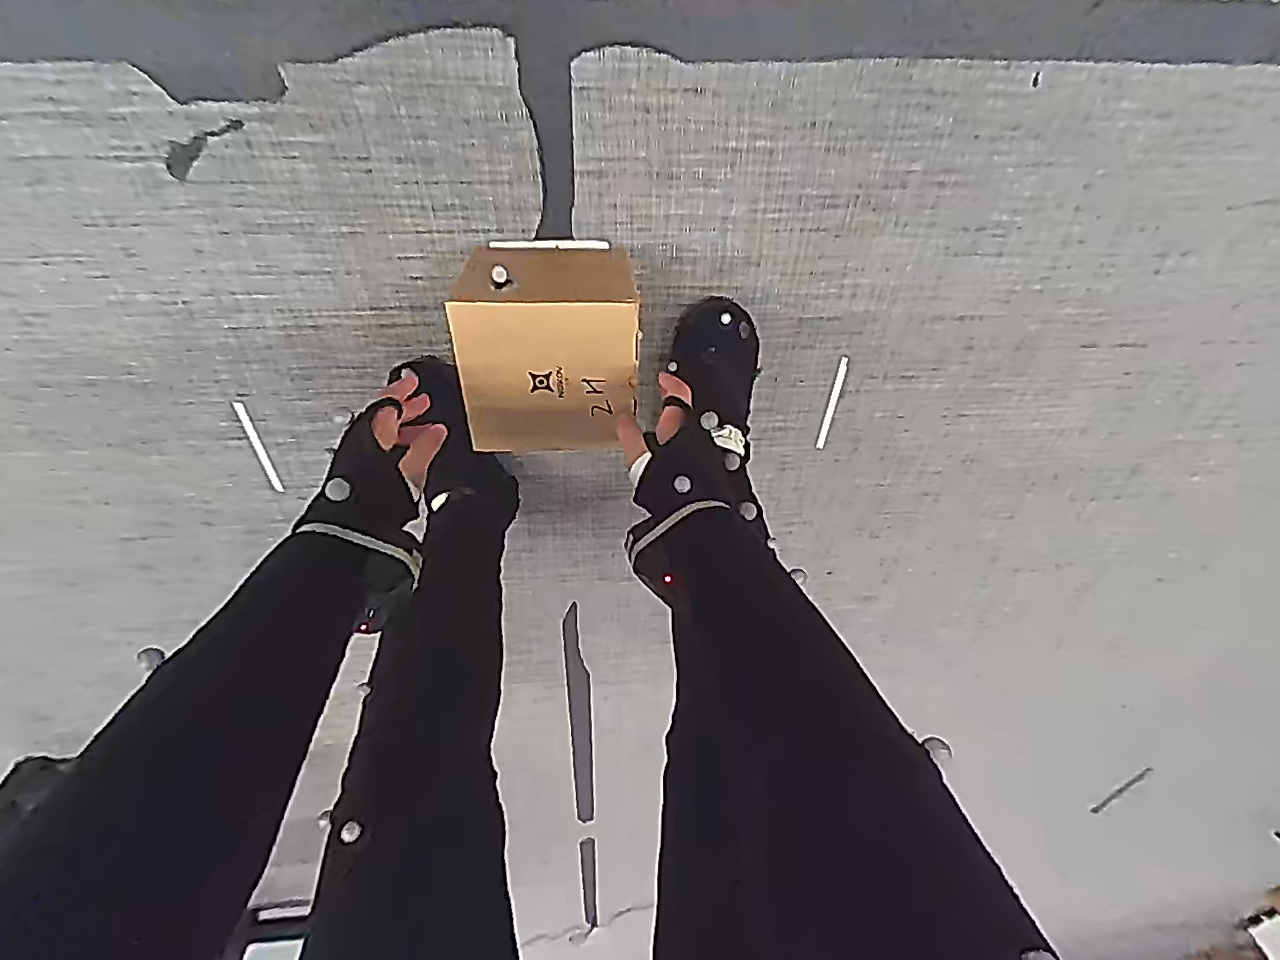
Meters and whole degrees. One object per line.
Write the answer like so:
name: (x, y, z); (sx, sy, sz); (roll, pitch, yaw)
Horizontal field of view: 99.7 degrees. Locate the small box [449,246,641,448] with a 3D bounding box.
small box: (-0.097, -0.151, 0.603); (0.179, 0.176, 0.168); (-2, 130, -6)
